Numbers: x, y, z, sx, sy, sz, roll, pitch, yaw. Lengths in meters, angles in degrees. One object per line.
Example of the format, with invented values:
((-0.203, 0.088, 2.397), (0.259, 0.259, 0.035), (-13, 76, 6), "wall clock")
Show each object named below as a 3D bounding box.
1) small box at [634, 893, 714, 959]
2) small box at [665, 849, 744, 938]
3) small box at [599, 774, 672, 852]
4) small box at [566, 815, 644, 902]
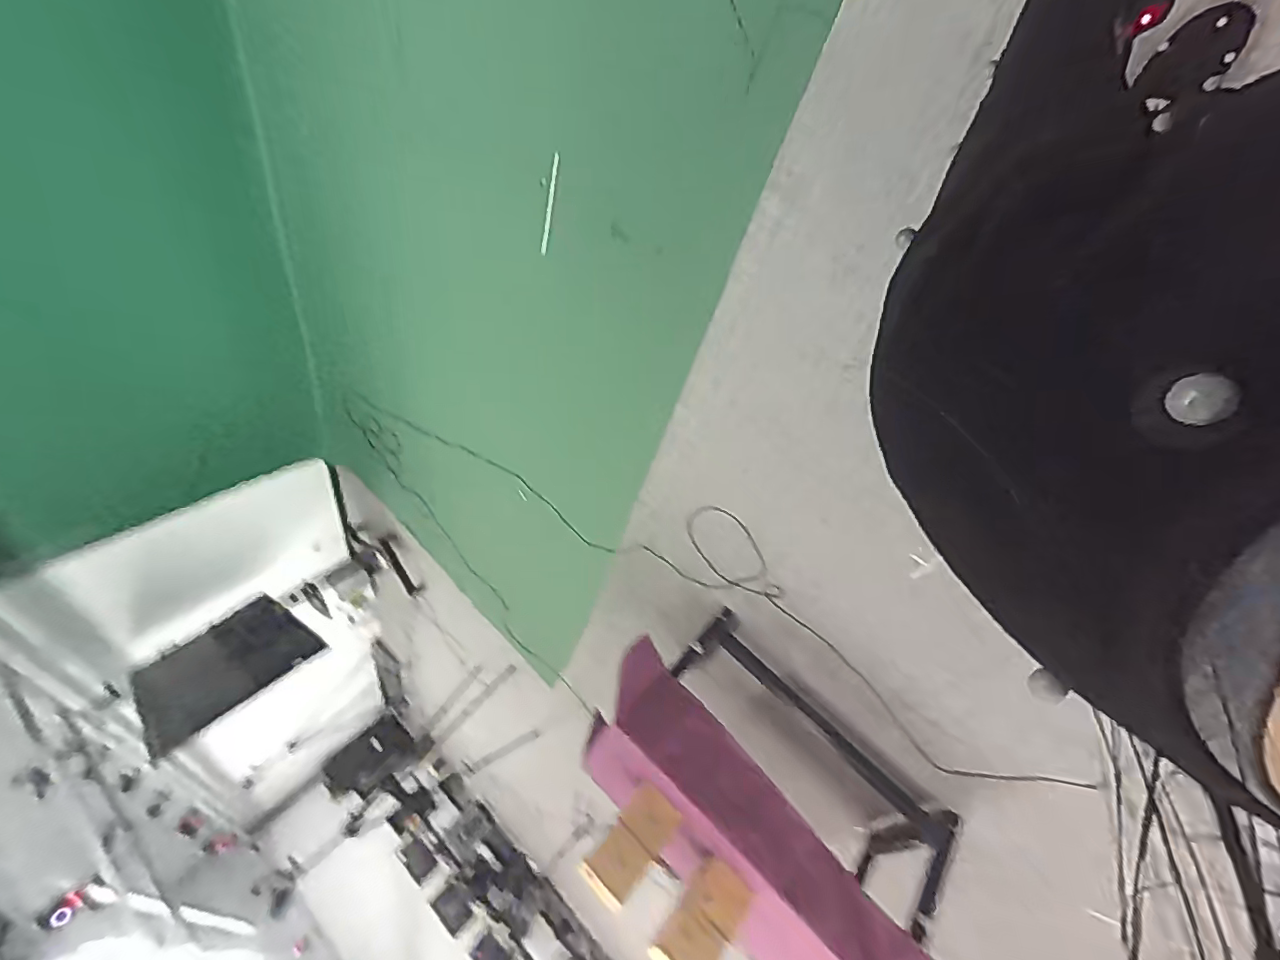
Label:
((0.112, 1.469, 1.735), (0.168, 0.176, 0.179), (42, 140, 18), "small box")
((0.221, 1.403, 1.837), (0.179, 0.176, 0.168), (43, 139, 16), "small box")
((-0.014, 1.191, 1.921), (0.179, 0.176, 0.168), (39, 138, 18), "small box")
((-0.117, 1.261, 1.813), (0.179, 0.176, 0.168), (40, 139, 17), "small box")
